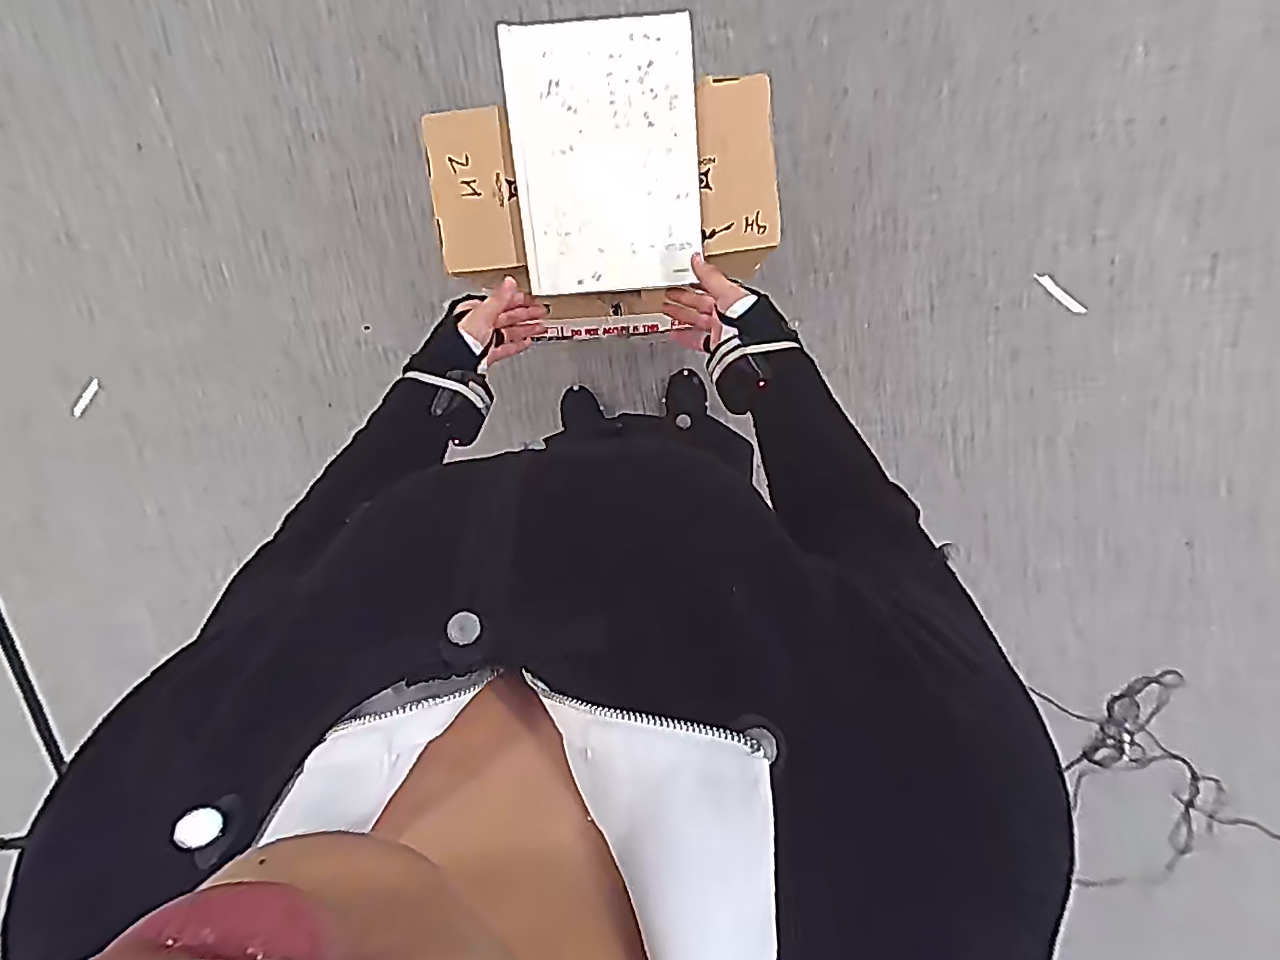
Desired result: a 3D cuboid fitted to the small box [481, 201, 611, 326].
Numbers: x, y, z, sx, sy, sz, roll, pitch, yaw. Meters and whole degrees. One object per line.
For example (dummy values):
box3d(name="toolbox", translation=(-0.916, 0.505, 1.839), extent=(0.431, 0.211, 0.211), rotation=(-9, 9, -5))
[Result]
box3d(name="small box", translation=(-0.138, -0.337, 0.865), extent=(0.179, 0.176, 0.168), rotation=(0, 103, 3))

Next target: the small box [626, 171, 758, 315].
box3d(name="small box", translation=(0.076, -0.362, 0.855), extent=(0.179, 0.176, 0.168), rotation=(-9, 102, 3))
